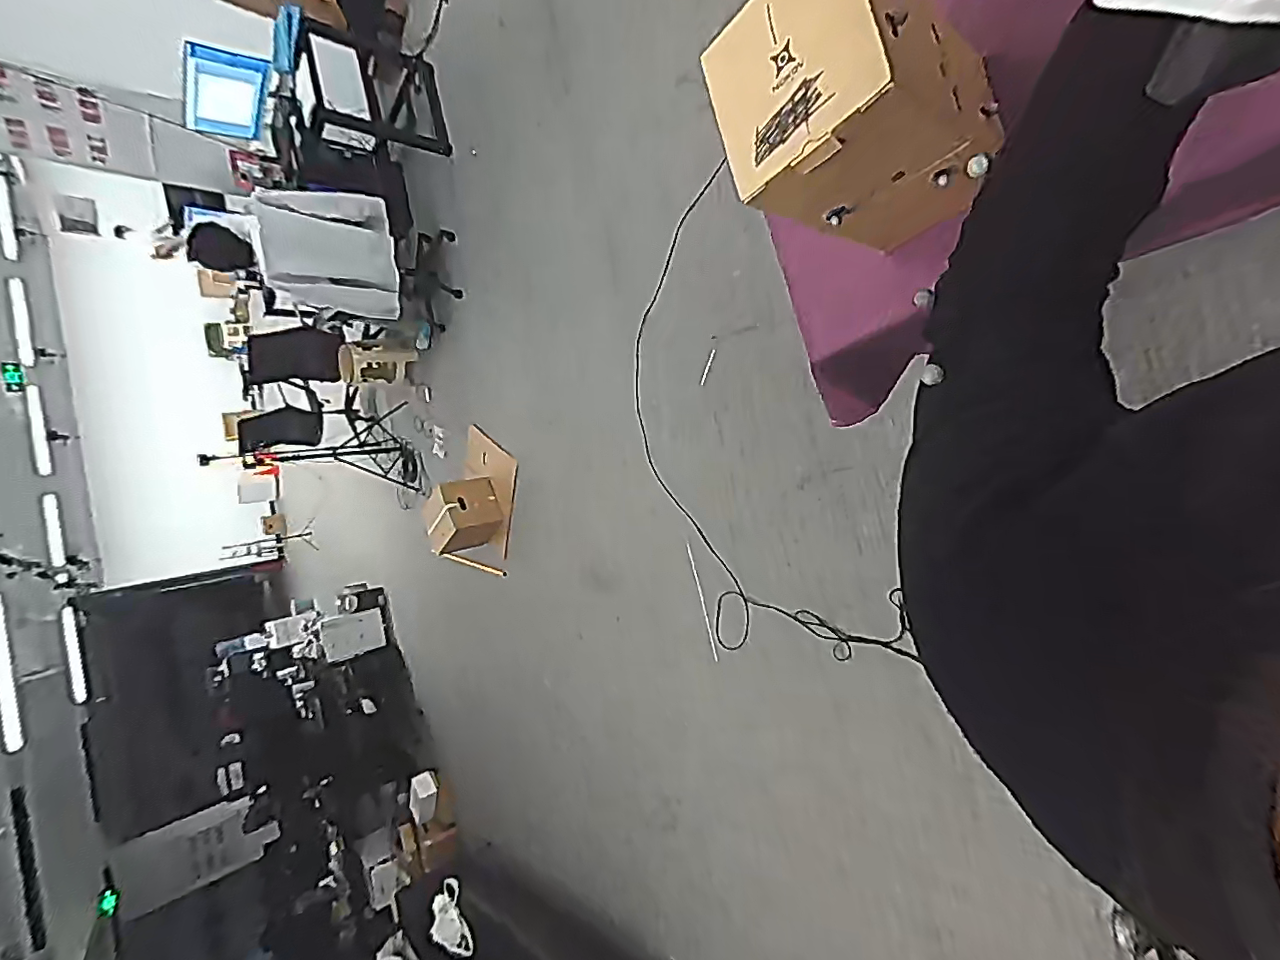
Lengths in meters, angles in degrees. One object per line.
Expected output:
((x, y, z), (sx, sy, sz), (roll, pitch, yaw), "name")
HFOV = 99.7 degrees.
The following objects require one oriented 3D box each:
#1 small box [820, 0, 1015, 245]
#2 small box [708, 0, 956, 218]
((0.329, -0.422, 0.679), (0.179, 0.176, 0.168), (-19, 82, 49), "small box")
((0.204, -0.406, 0.574), (0.168, 0.176, 0.179), (-20, 81, 48), "small box")
